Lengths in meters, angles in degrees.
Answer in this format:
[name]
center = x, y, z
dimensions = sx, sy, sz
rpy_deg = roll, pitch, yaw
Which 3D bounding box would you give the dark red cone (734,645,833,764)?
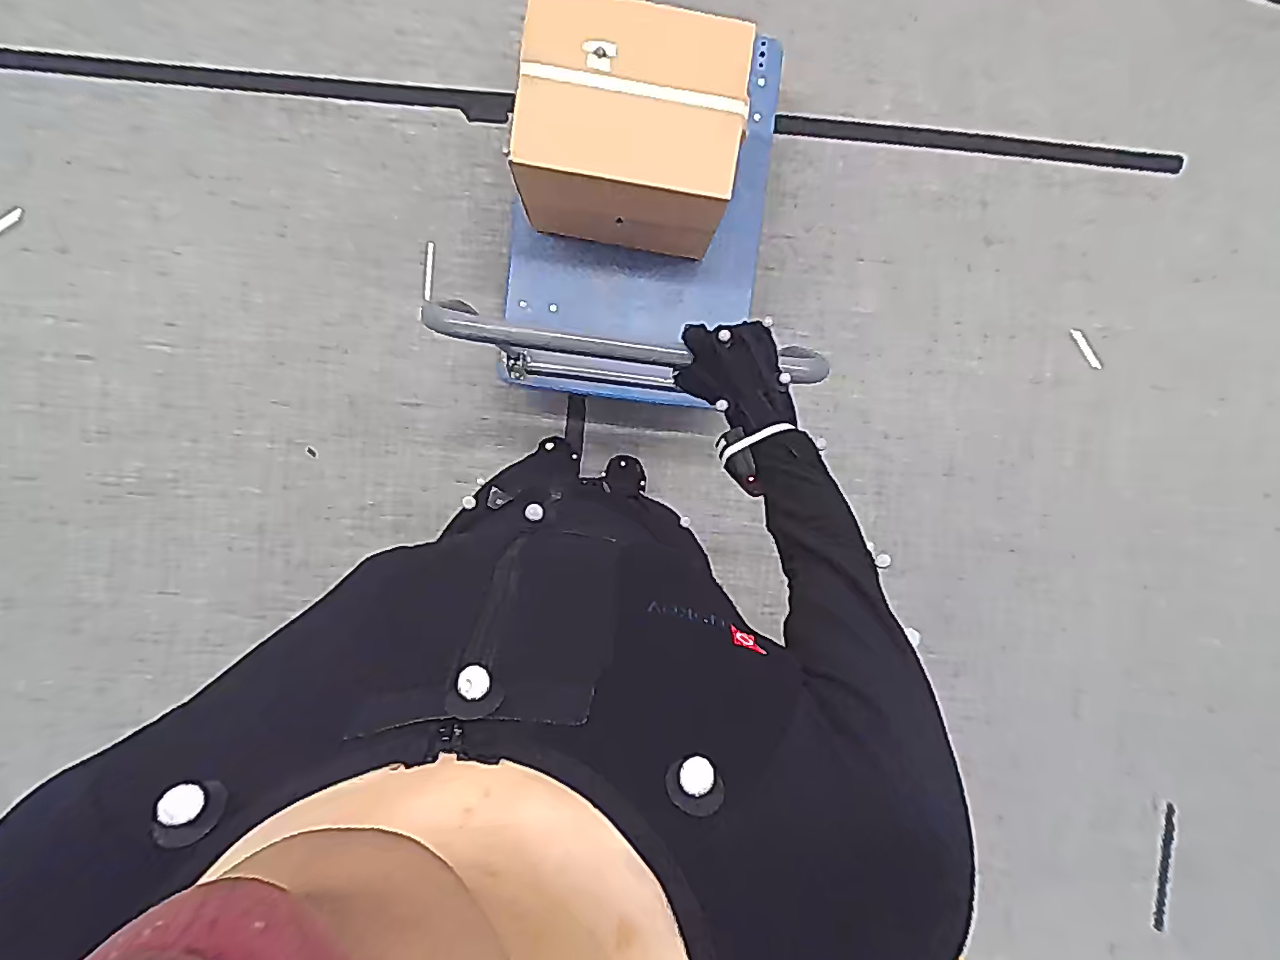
[dark red cone]
center = 0.370, 0.564, 1.316
dimensions = 0.201, 0.394, 0.202
rpy_deg = 4, 93, -4

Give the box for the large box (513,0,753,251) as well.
[large box]
center = -0.014, -0.699, 1.110
dimensions = 0.408, 0.320, 0.320
rpy_deg = 8, 93, -2
